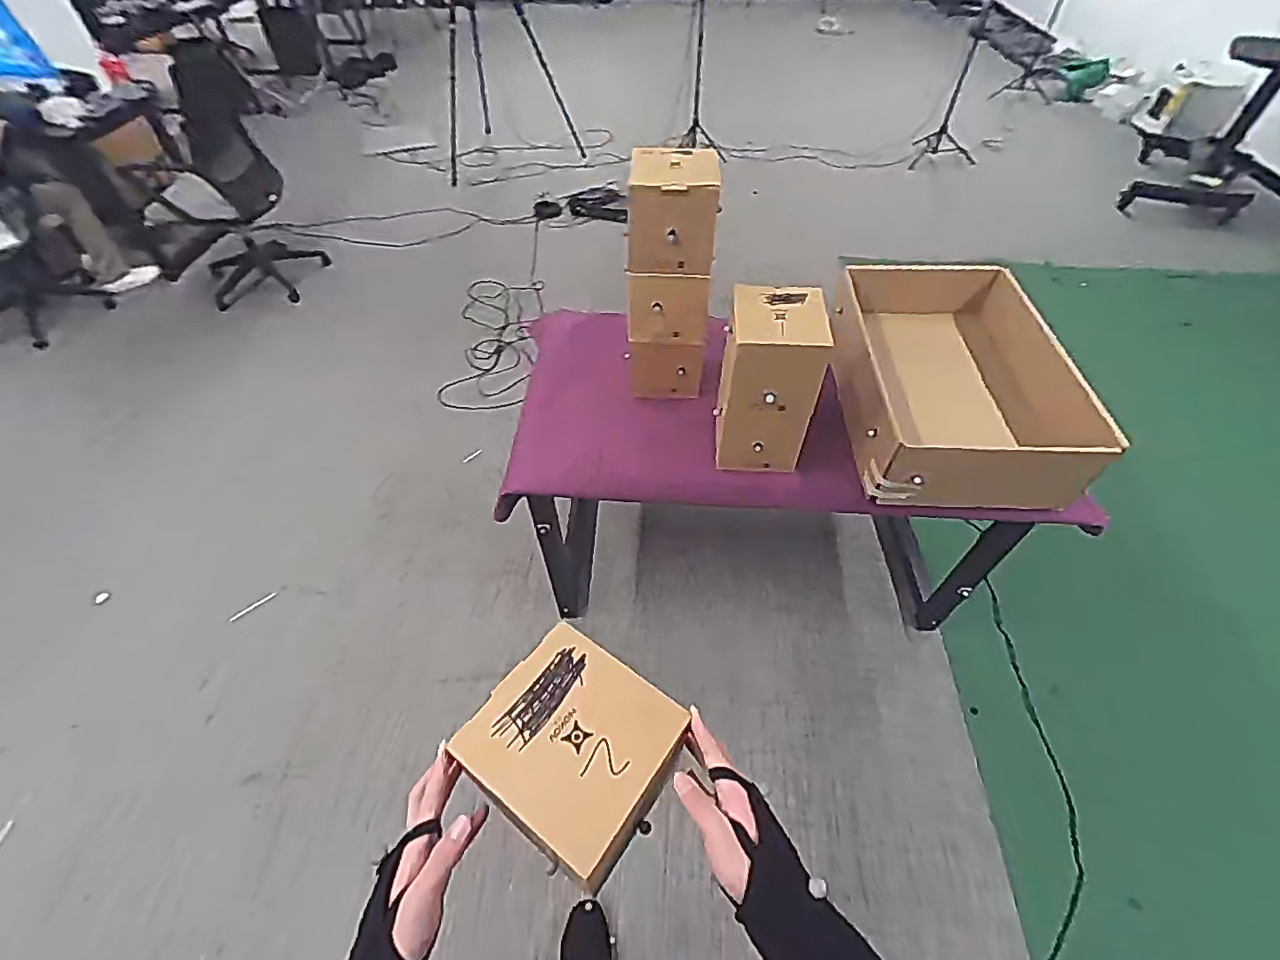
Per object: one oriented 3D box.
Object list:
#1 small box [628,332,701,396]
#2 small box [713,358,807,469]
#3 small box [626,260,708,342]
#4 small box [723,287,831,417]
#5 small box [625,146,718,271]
[{"bbox_3d":[0.062,-0.322,1.309,0.168,0.176,0.179,3,51,2],"label":"small box"},{"bbox_3d":[0.249,-0.140,1.156,0.168,0.176,0.179,4,51,3],"label":"small box"},{"bbox_3d":[0.061,-0.420,1.181,0.168,0.176,0.179,2,51,2],"label":"small box"},{"bbox_3d":[0.250,-0.244,1.029,0.168,0.176,0.179,3,51,3],"label":"small box"},{"bbox_3d":[0.061,-0.527,1.056,0.168,0.176,0.179,2,52,1],"label":"small box"}]
